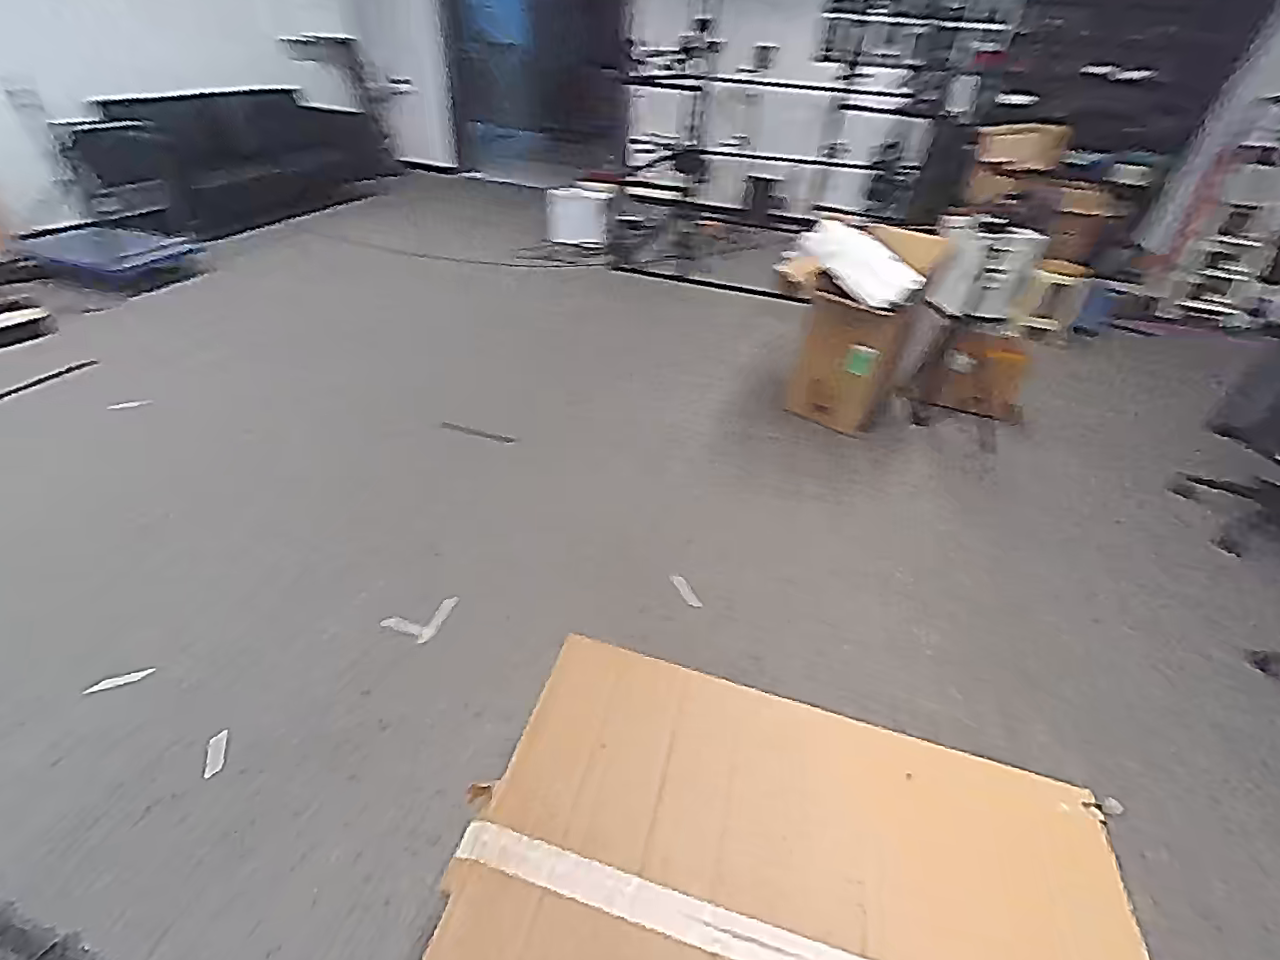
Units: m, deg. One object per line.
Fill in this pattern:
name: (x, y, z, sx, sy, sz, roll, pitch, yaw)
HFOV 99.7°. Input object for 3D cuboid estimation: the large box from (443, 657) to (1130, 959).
large box: (0.076, 0.394, 0.410, 0.408, 0.320, 0.320, 14, 42, 7)
